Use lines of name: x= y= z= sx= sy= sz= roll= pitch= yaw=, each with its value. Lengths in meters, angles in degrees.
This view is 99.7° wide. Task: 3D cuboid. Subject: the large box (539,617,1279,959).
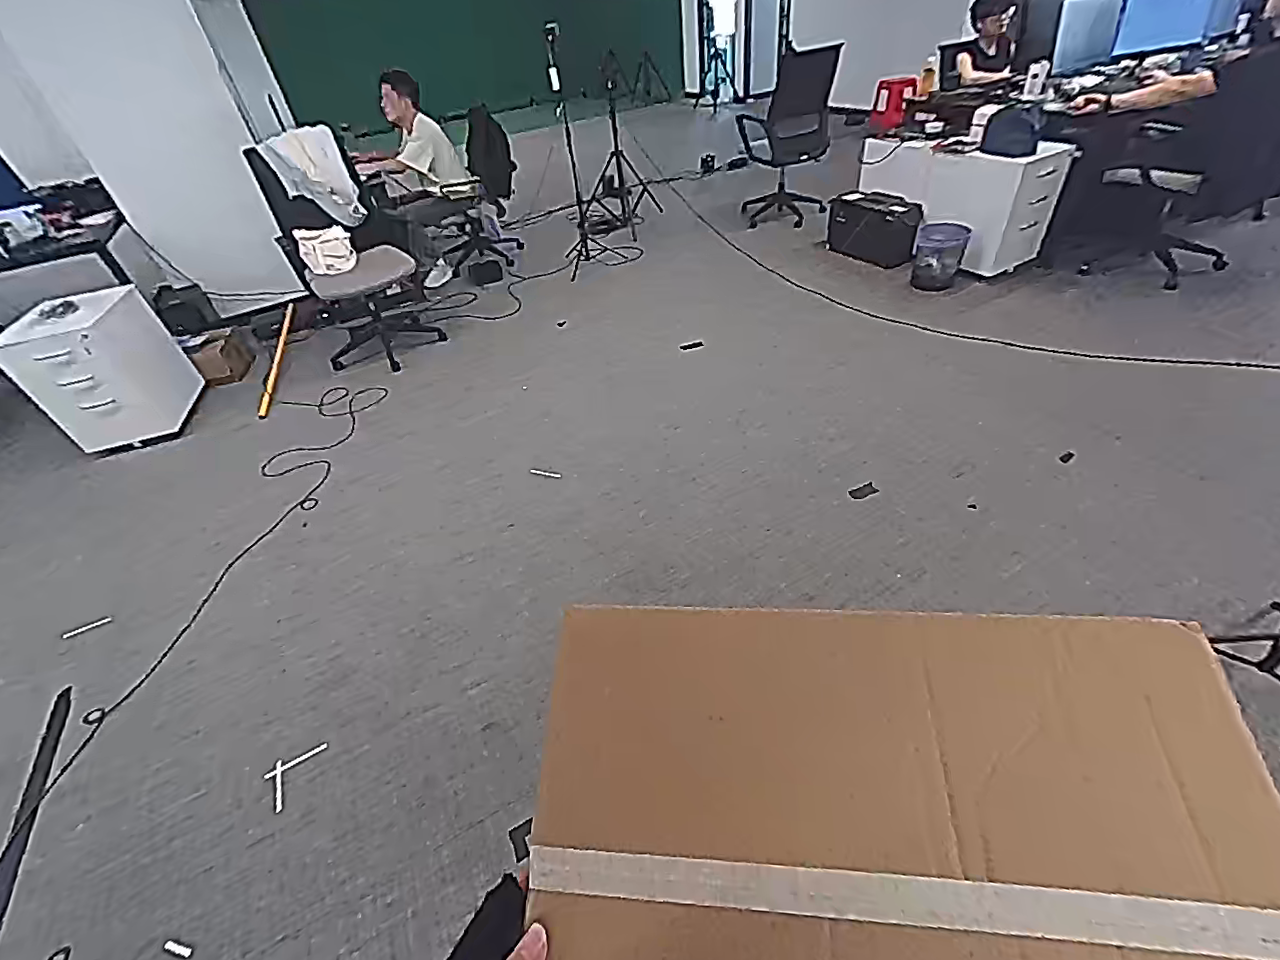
large box: x=0.158 y=0.305 z=0.429 sx=0.408 sy=0.320 sz=0.320 roll=-1 pitch=62 yaw=8
